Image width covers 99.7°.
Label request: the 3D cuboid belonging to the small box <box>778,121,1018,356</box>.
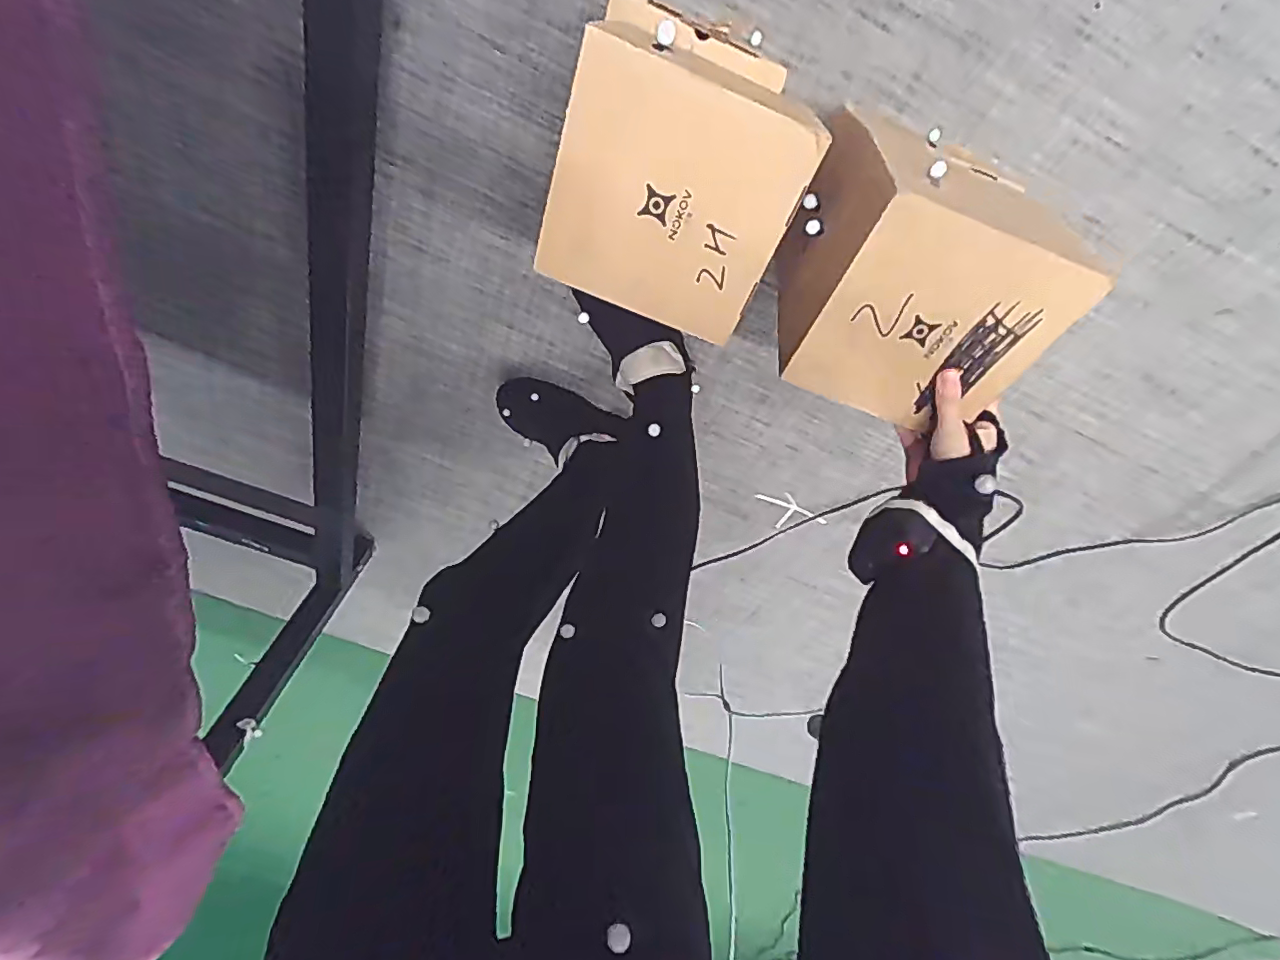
[{"bbox_3d":[0.269,-0.277,0.616,0.168,0.176,0.179,18,130,-5],"label":"small box"}]
